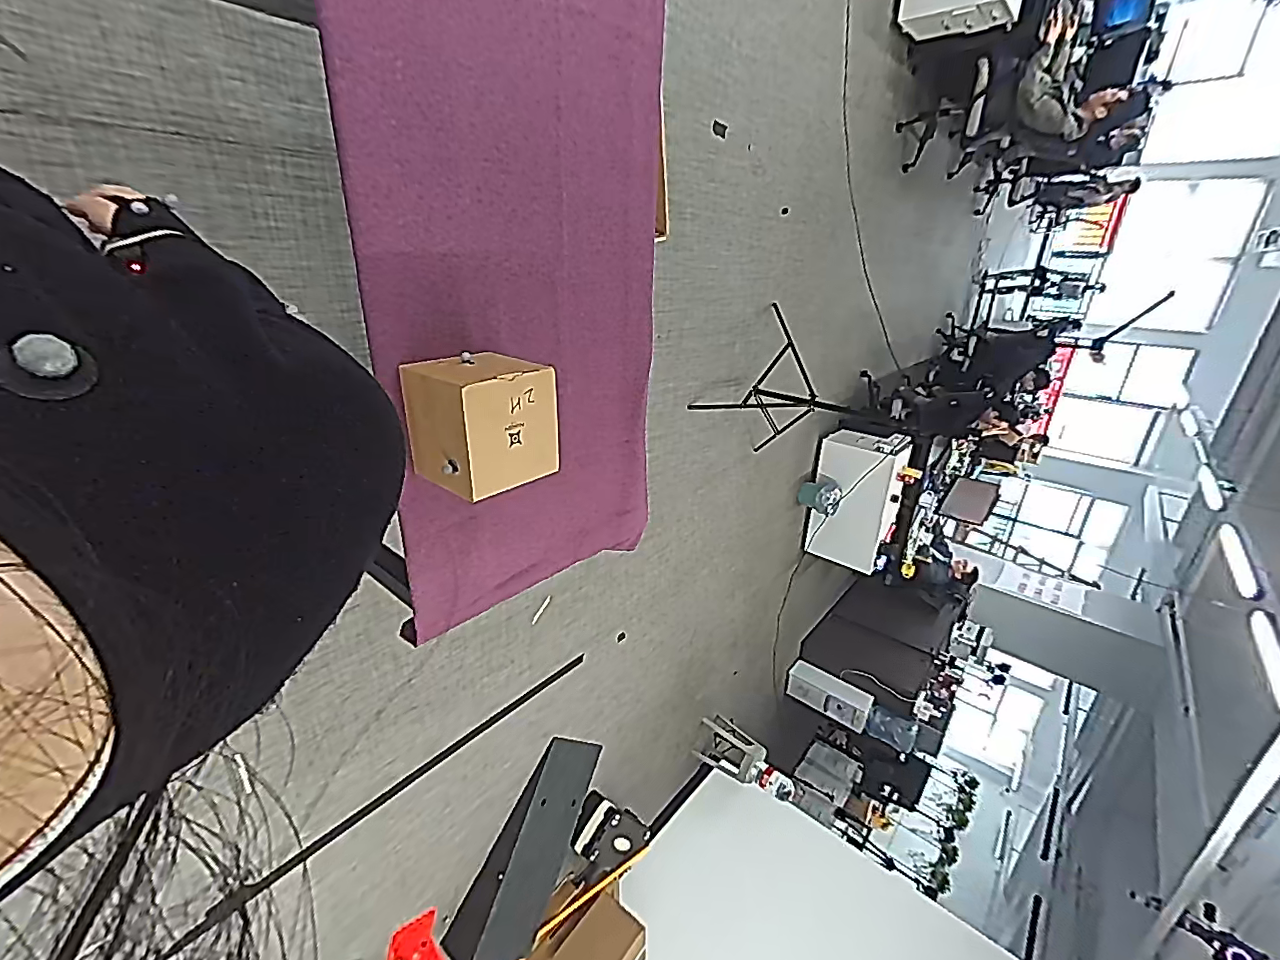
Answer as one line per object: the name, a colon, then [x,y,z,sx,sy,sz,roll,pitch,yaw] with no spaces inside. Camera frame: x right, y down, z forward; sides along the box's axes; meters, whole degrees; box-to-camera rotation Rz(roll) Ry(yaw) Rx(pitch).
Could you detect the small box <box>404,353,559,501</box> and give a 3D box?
small box: [-0.245,-0.093,0.849,0.168,0.176,0.179,-25,125,-45]
